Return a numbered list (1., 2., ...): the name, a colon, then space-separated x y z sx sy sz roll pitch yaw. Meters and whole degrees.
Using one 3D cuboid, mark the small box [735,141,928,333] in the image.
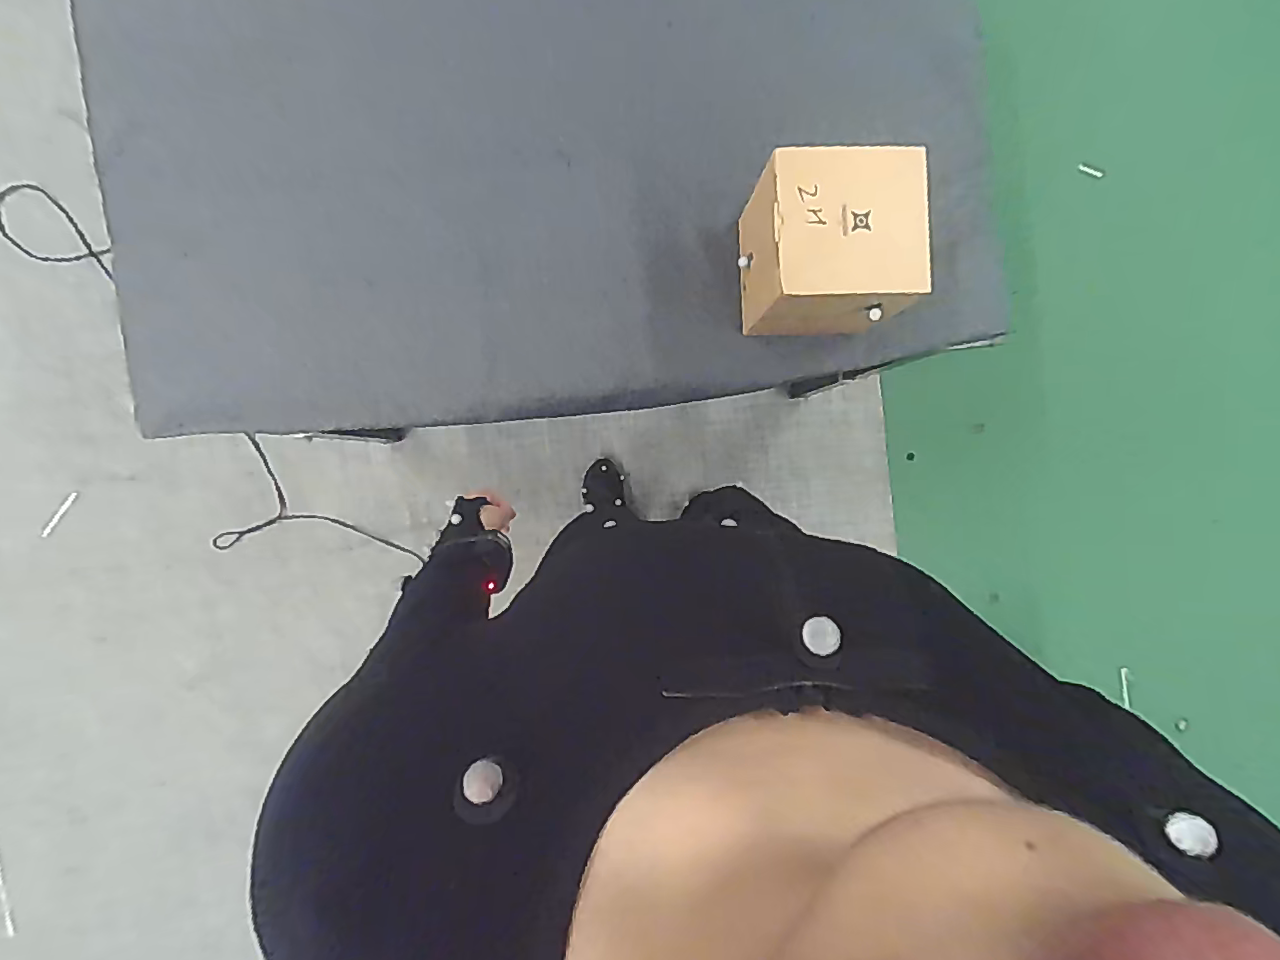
1. small box: 0.225 -0.287 0.670 0.179 0.176 0.168 -2 90 -3
